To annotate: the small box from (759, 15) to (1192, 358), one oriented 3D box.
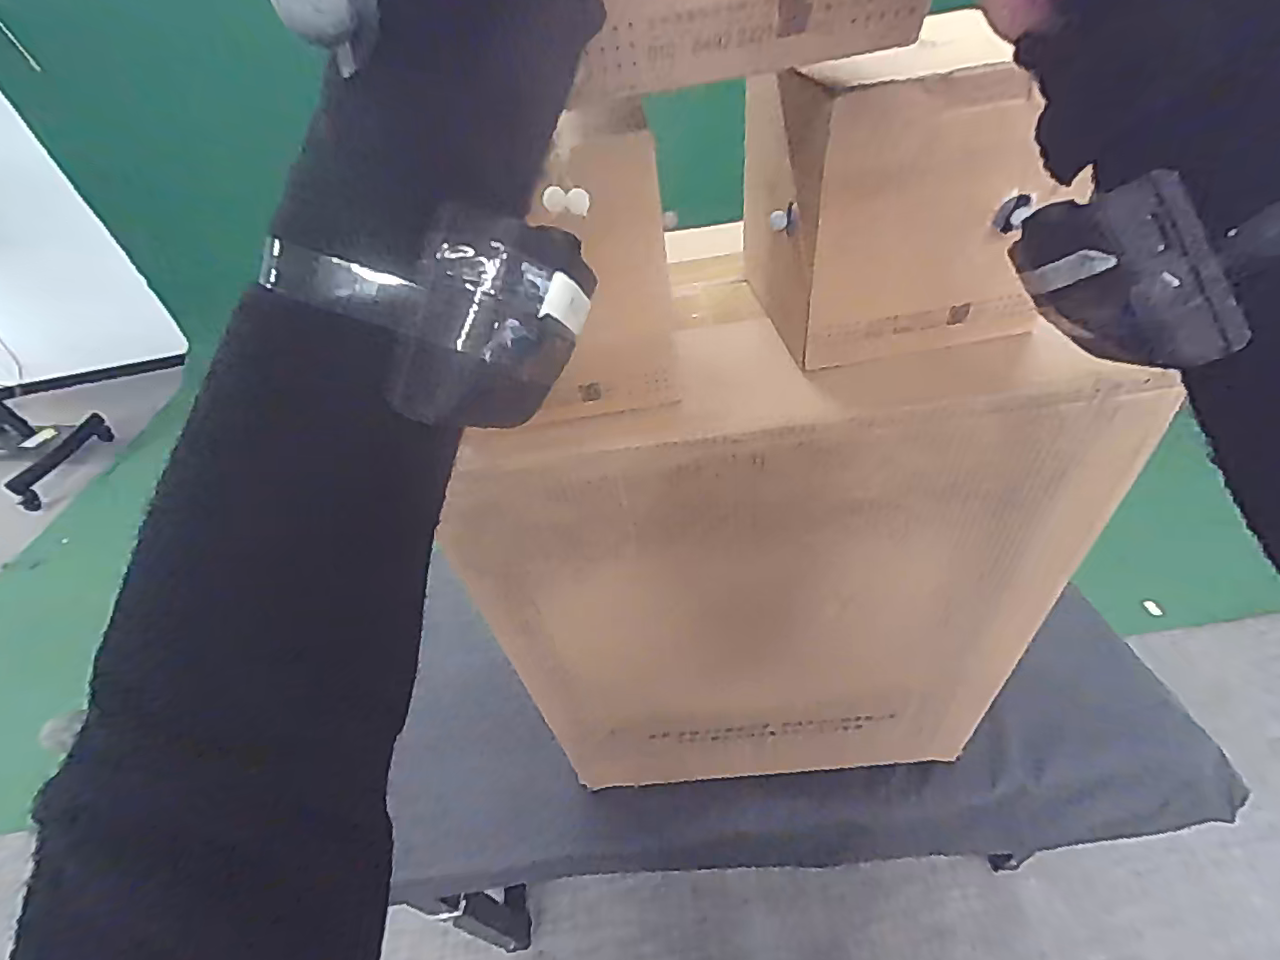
[{"bbox_3d":[0.189,-0.198,0.378,0.168,0.176,0.179,-9,45,-2],"label":"small box"}]
